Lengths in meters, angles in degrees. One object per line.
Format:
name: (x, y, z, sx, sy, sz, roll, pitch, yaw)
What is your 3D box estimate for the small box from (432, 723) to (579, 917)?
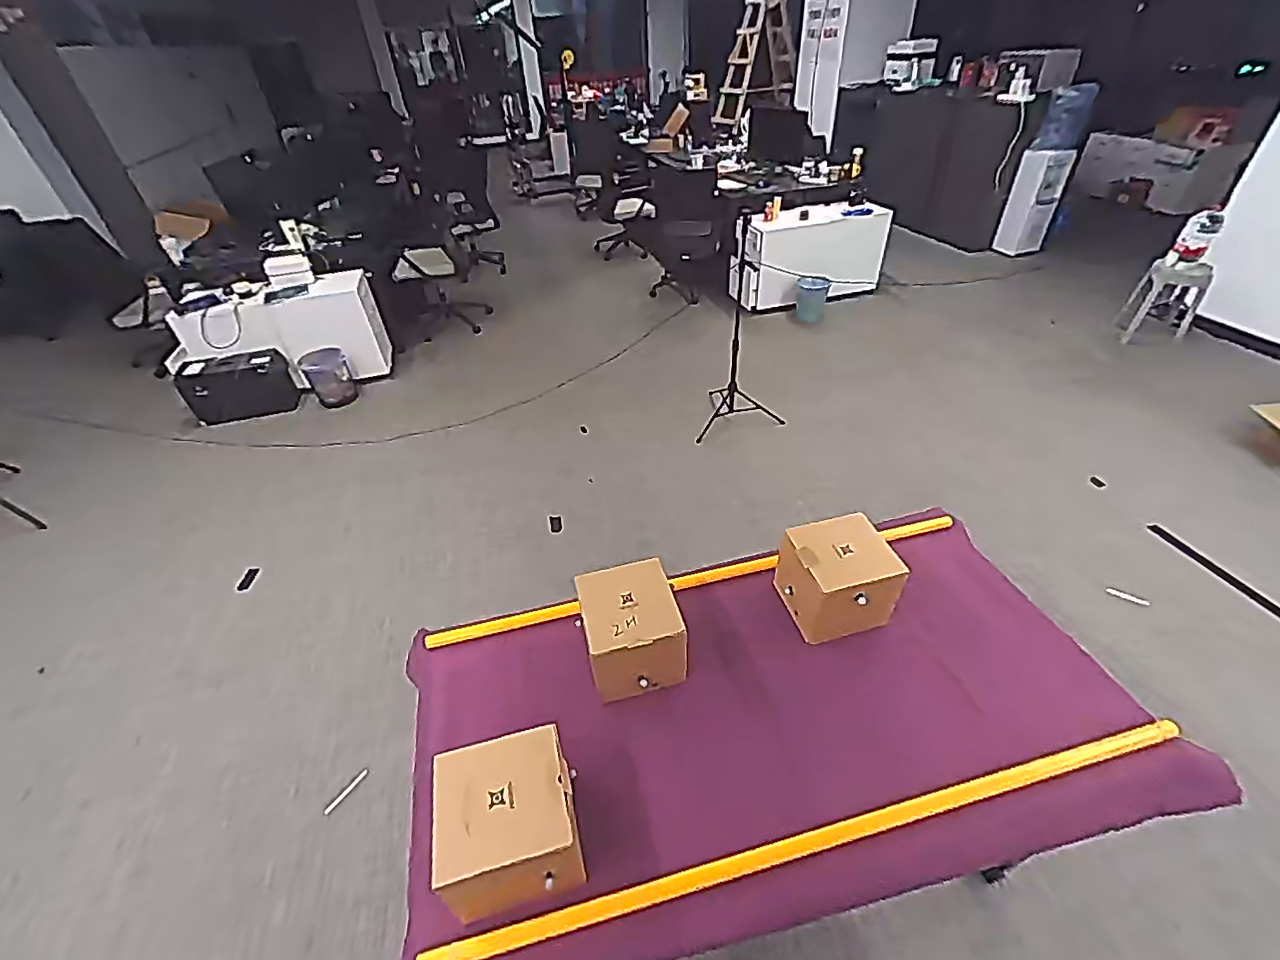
small box: (-0.186, 0.484, 0.774, 0.179, 0.176, 0.168, -10, 39, -11)

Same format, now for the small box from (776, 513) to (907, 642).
small box: (0.391, 0.196, 1.082, 0.179, 0.176, 0.168, -12, 41, -8)

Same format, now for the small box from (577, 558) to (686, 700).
small box: (-0.019, 0.278, 1.014, 0.168, 0.176, 0.179, -12, 42, -9)
